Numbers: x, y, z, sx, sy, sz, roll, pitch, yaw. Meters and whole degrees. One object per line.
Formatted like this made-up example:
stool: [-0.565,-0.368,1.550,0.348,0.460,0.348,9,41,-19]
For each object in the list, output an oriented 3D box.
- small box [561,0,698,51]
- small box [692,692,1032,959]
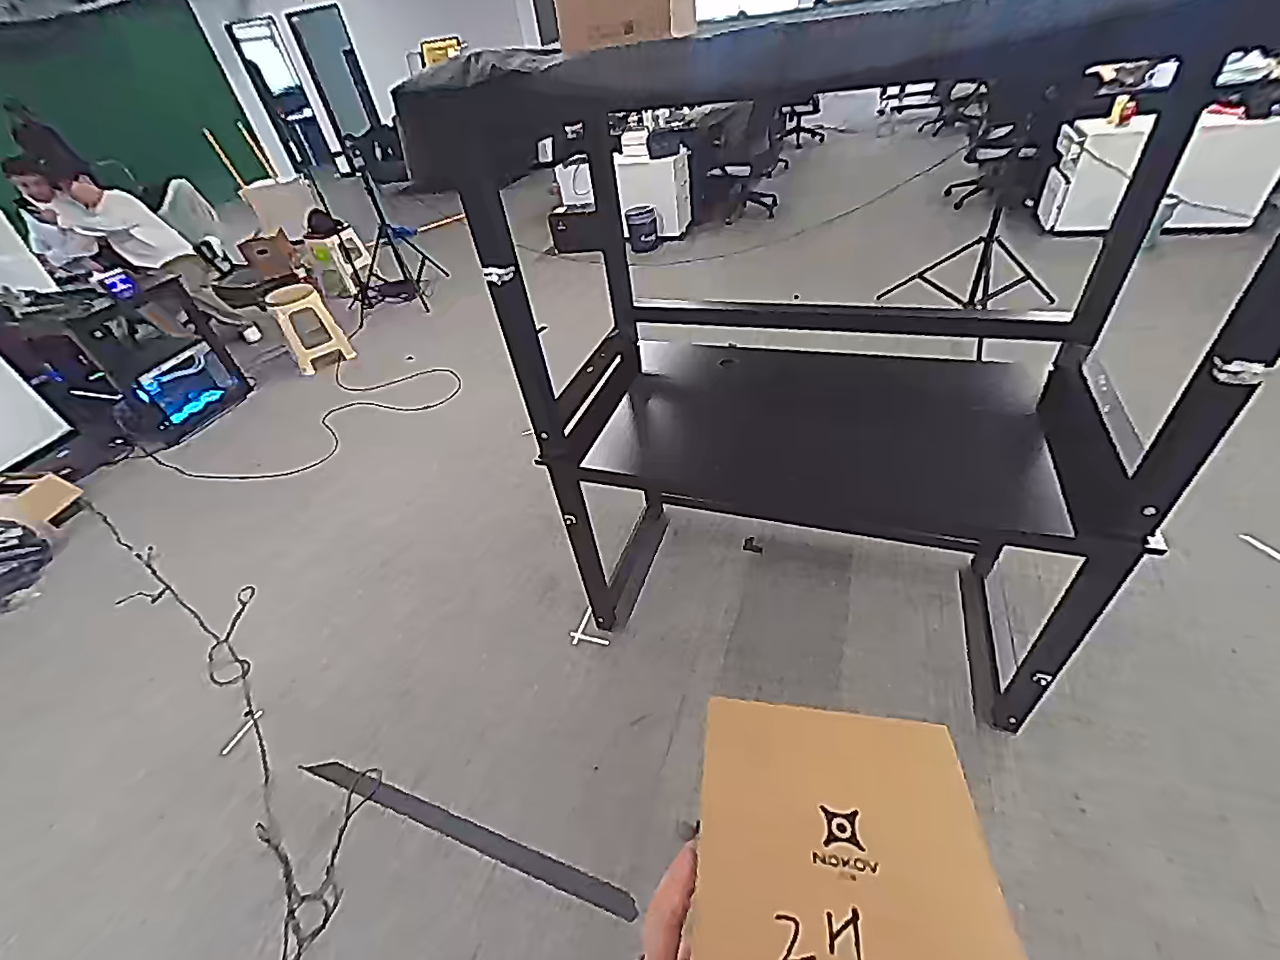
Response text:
small box: [-0.014,-0.721,0.760,0.168,0.176,0.179,6,42,16]
small box: [0.122,0.275,0.357,0.168,0.176,0.179,3,34,9]
